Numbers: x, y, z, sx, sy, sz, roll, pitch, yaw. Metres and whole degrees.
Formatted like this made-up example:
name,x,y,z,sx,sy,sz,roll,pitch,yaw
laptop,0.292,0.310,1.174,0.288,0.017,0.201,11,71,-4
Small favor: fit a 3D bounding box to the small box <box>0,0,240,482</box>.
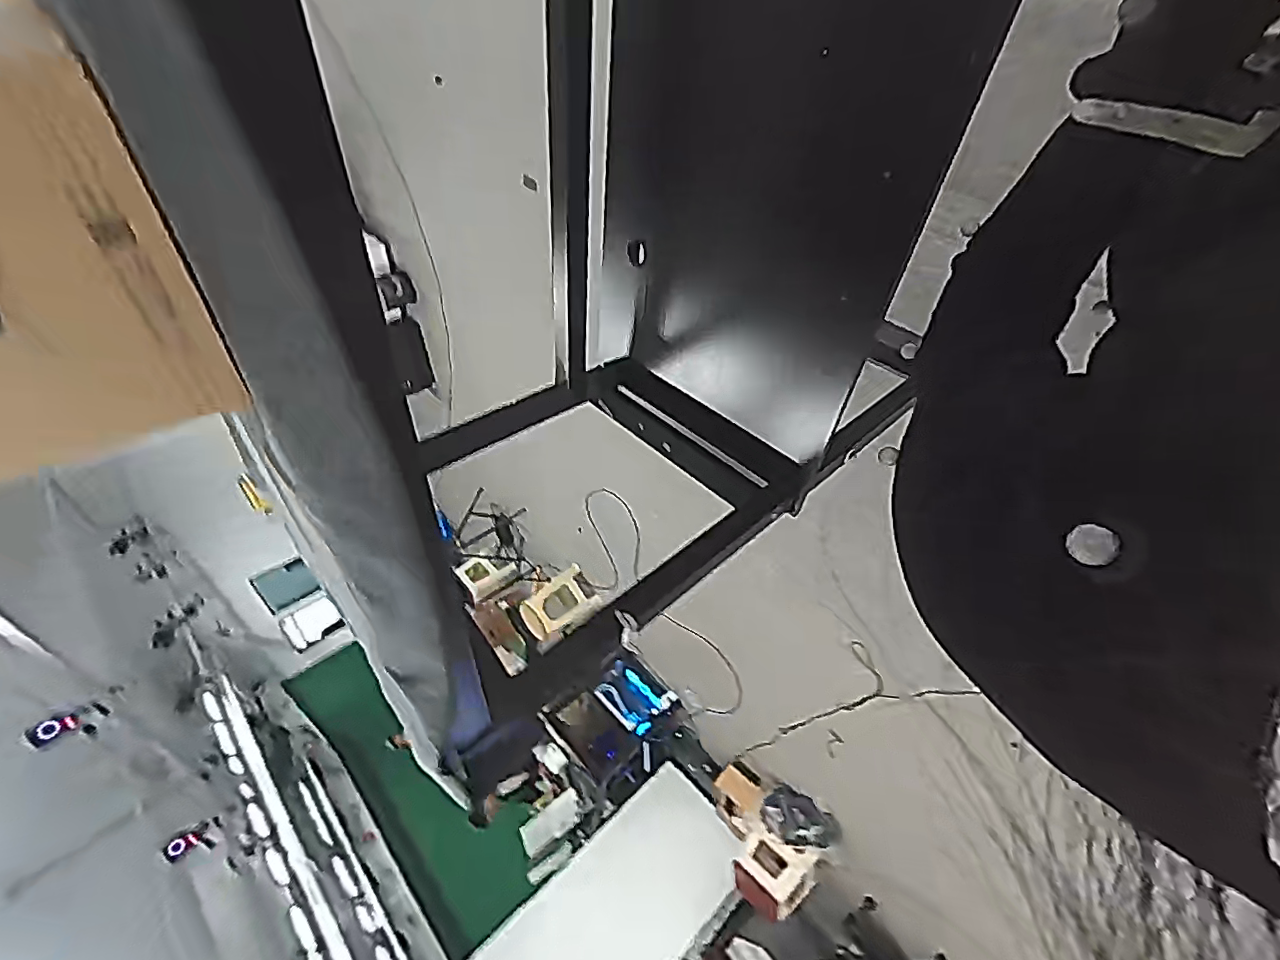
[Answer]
name,x,y,z,sx,sy,sz,roll,pitch,yaw
small box,-0.331,-0.115,0.256,0.179,0.176,0.168,41,143,27
